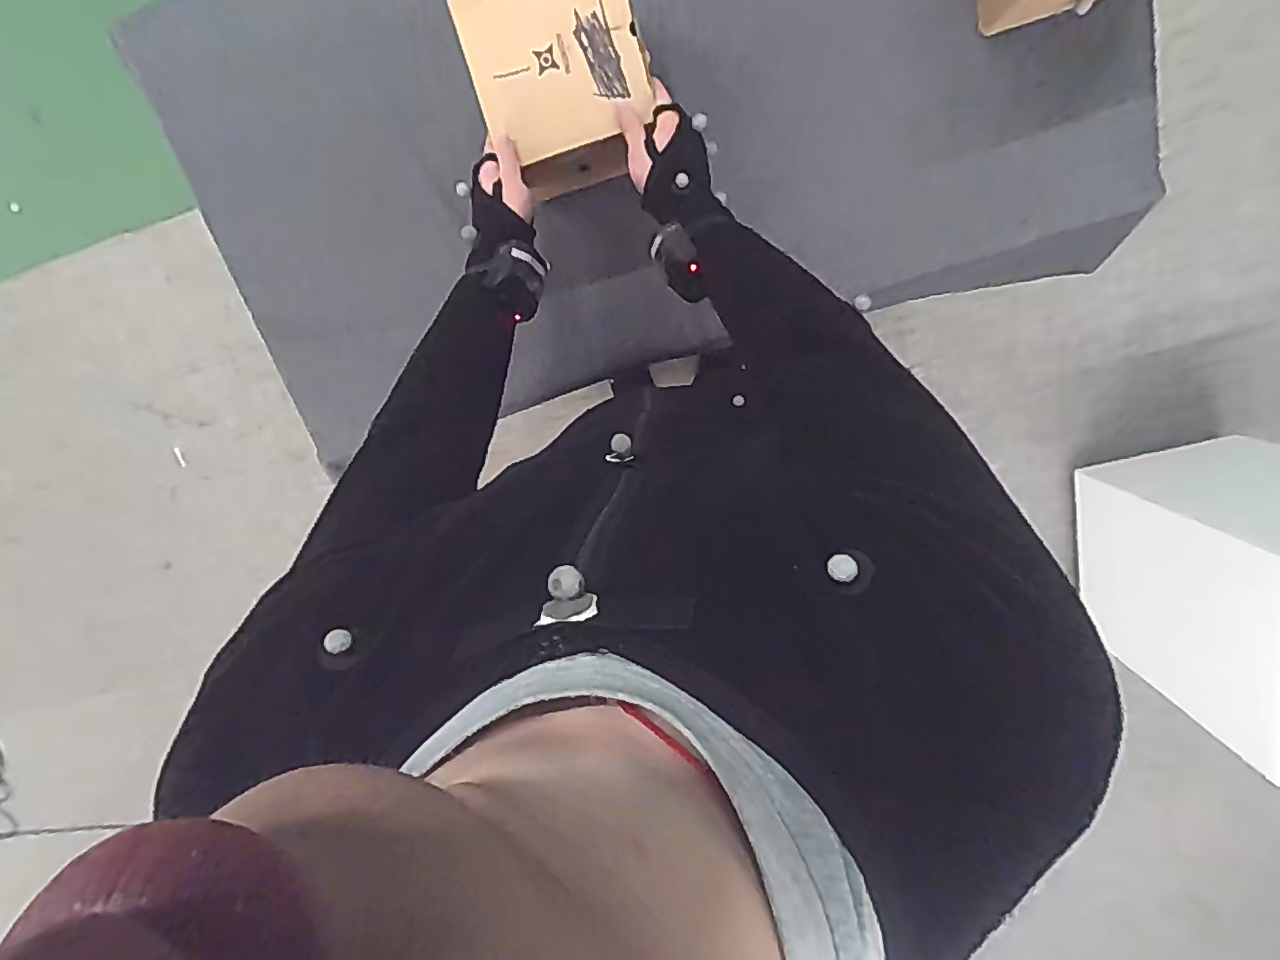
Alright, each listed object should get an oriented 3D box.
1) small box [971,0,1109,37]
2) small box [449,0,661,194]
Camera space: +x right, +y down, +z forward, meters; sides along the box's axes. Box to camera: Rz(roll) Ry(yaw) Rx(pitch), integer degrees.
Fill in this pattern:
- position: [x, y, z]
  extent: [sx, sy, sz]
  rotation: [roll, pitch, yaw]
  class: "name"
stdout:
- position: [0.457, -0.587, 0.529]
  extent: [0.179, 0.176, 0.168]
  rotation: [-13, 106, 6]
  class: "small box"
- position: [-0.079, -0.441, 0.599]
  extent: [0.179, 0.176, 0.168]
  rotation: [-13, 106, 7]
  class: "small box"
